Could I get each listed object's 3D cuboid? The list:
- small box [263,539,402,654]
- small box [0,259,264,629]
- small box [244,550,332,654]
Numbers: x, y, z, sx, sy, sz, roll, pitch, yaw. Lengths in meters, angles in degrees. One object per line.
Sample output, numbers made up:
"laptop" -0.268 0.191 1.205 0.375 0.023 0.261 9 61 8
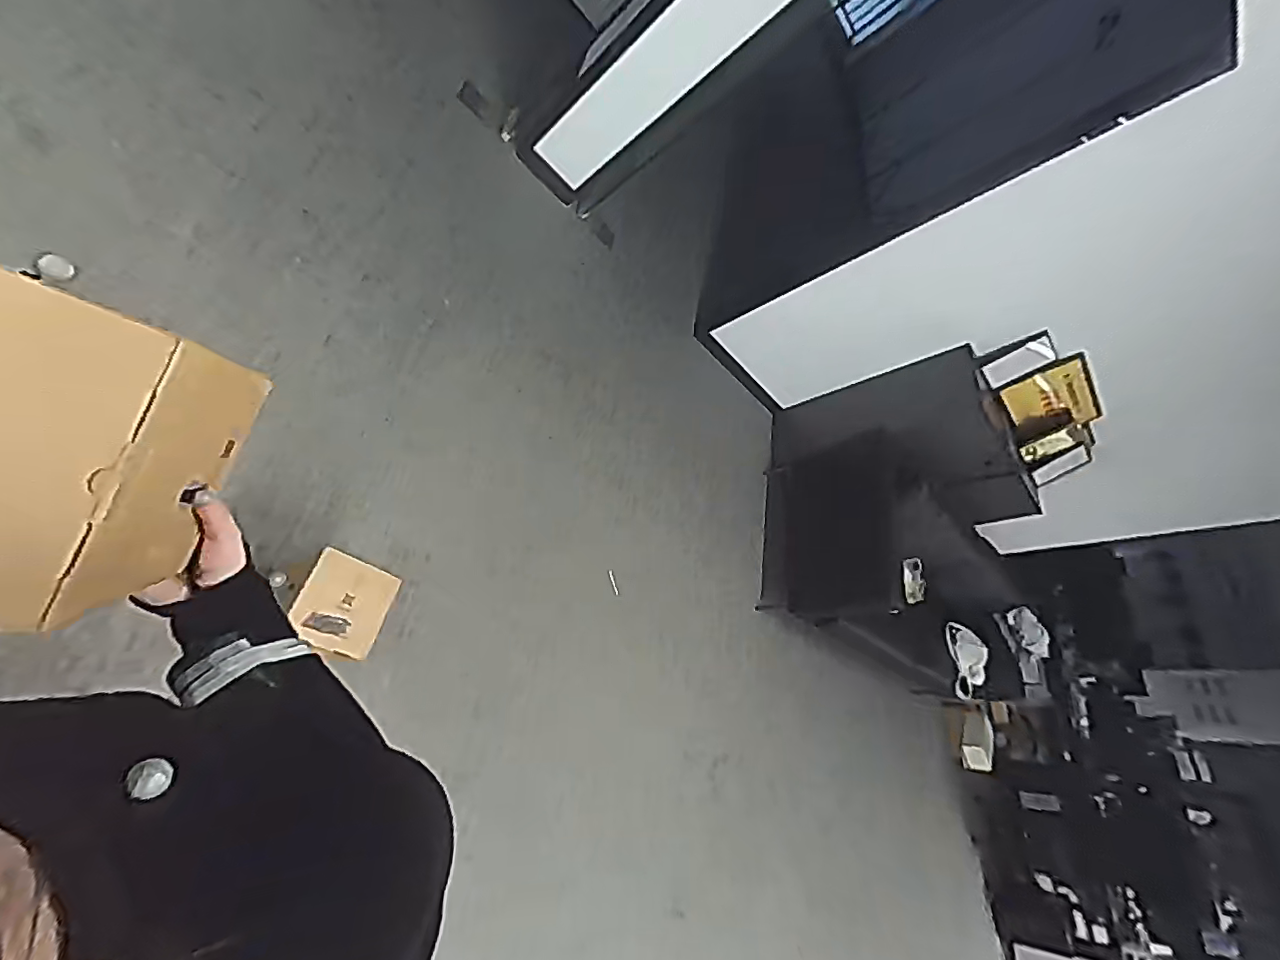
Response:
"small box" -0.627 0.244 1.097 0.168 0.176 0.179 38 50 -34
"small box" -0.368 -0.034 0.318 0.179 0.176 0.168 23 84 -21
"small box" -0.745 0.278 1.207 0.168 0.176 0.179 37 52 -35
